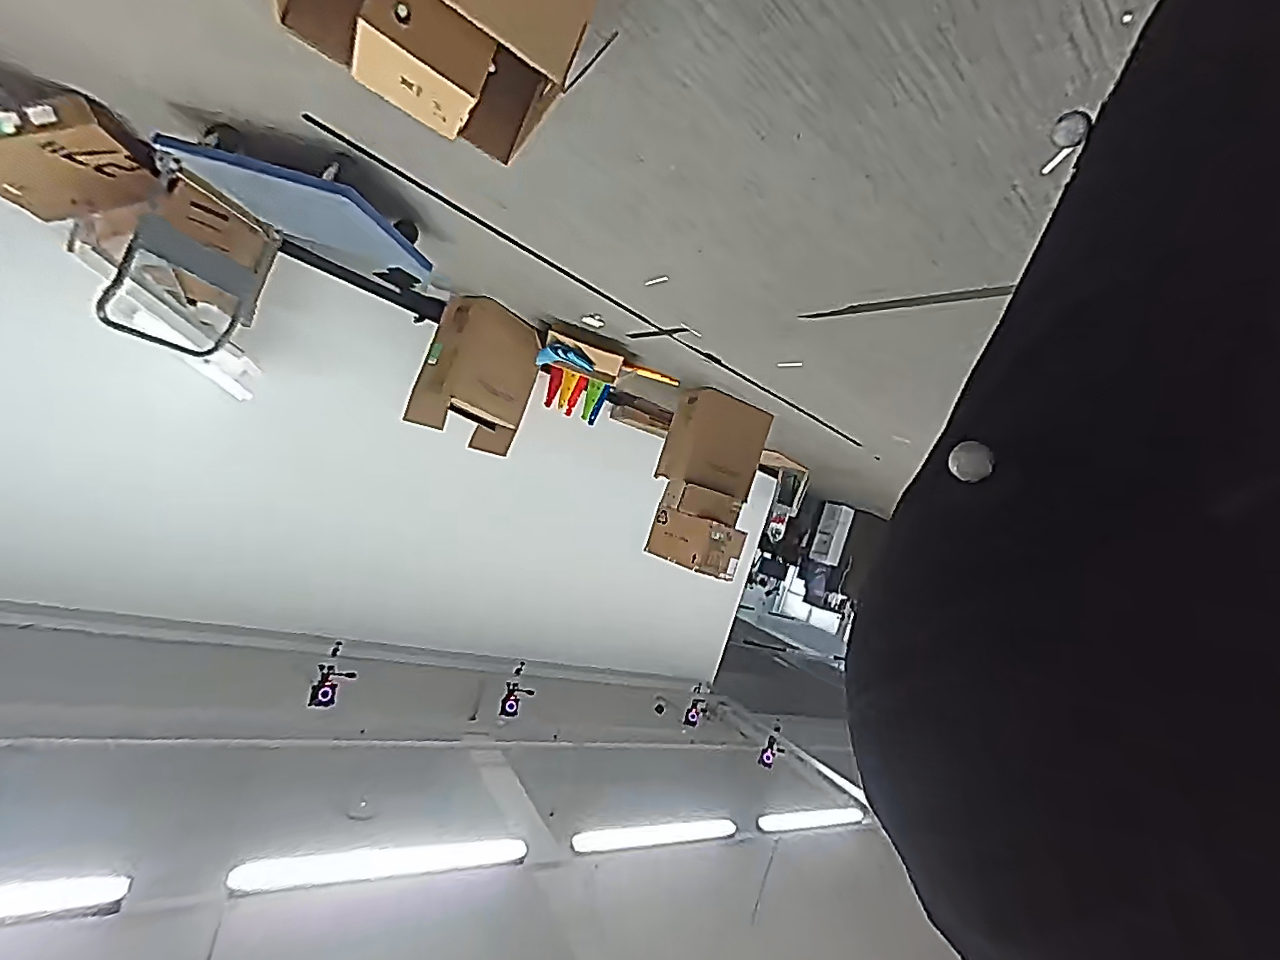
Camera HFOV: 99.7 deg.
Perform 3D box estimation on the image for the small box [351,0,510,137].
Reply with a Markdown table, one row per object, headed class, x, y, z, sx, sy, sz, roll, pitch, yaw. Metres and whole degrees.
| class | x | y | z | sx | sy | sz | roll | pitch | yaw |
| --- | --- | --- | --- | --- | --- | --- | --- | --- | --- |
| small box | -0.336 | -0.709 | 0.865 | 0.179 | 0.176 | 0.168 | 20 | 178 | -33 |
